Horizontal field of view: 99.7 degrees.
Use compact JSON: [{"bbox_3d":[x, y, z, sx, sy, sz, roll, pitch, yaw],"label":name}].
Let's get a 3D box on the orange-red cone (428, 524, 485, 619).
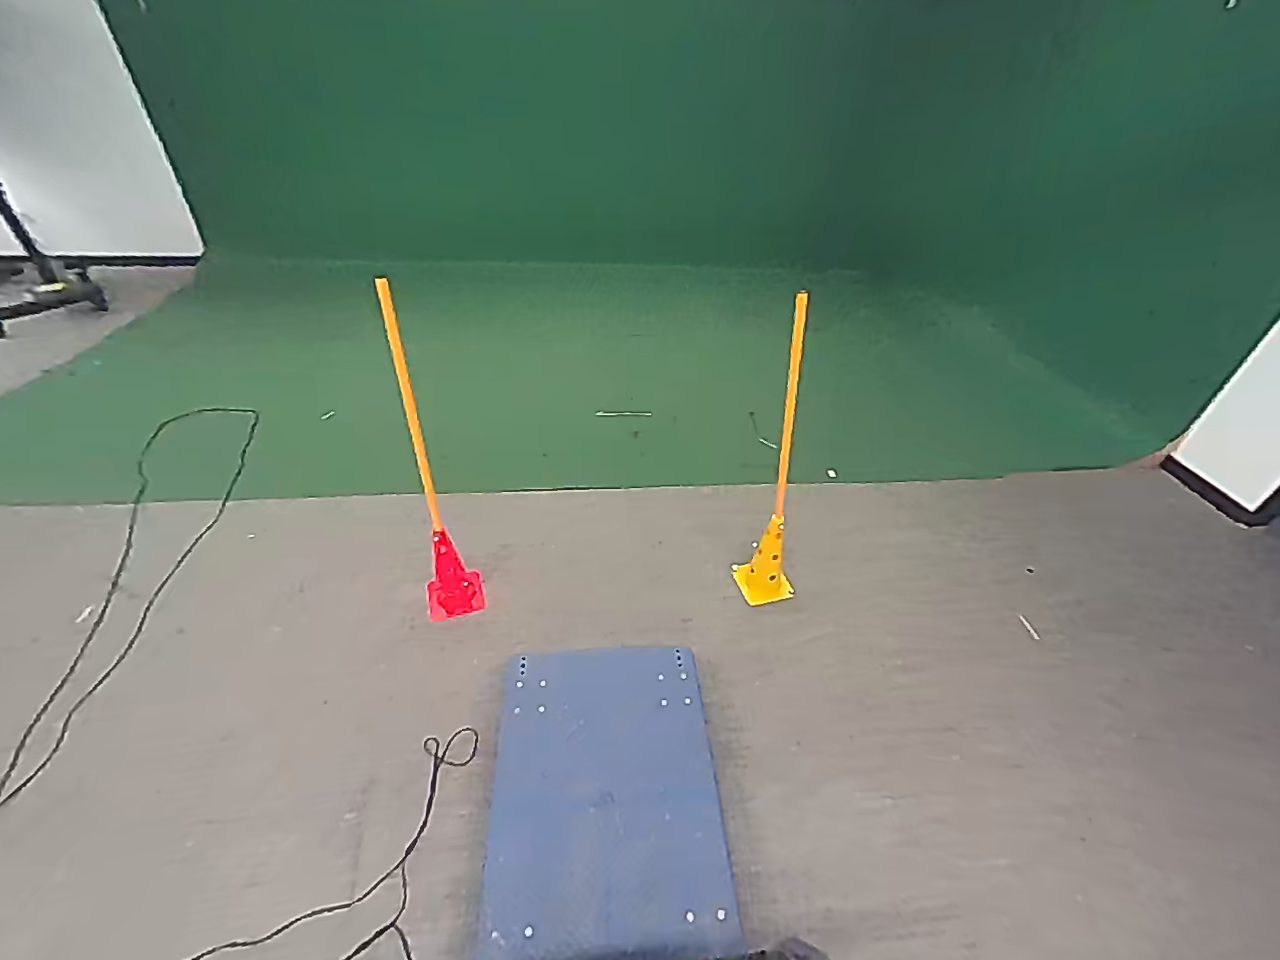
[{"bbox_3d":[-0.689,0.298,1.929,0.199,0.360,0.198,-12,41,-16],"label":"orange-red cone"}]
